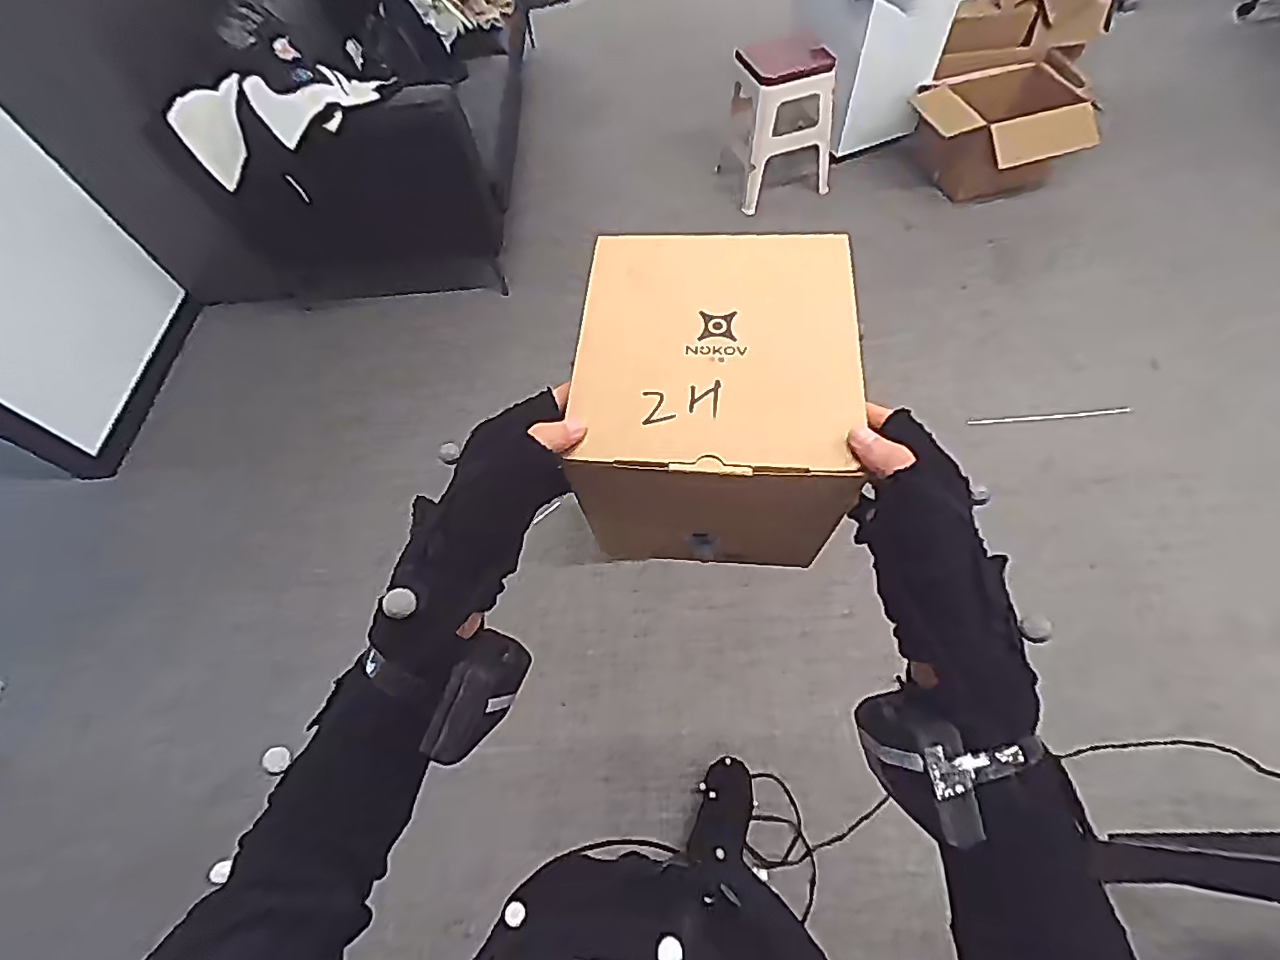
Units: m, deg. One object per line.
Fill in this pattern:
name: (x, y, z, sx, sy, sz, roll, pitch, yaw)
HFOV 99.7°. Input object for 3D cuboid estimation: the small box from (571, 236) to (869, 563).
small box: (0.056, -0.052, 0.402, 0.168, 0.176, 0.179, 3, 65, 7)
